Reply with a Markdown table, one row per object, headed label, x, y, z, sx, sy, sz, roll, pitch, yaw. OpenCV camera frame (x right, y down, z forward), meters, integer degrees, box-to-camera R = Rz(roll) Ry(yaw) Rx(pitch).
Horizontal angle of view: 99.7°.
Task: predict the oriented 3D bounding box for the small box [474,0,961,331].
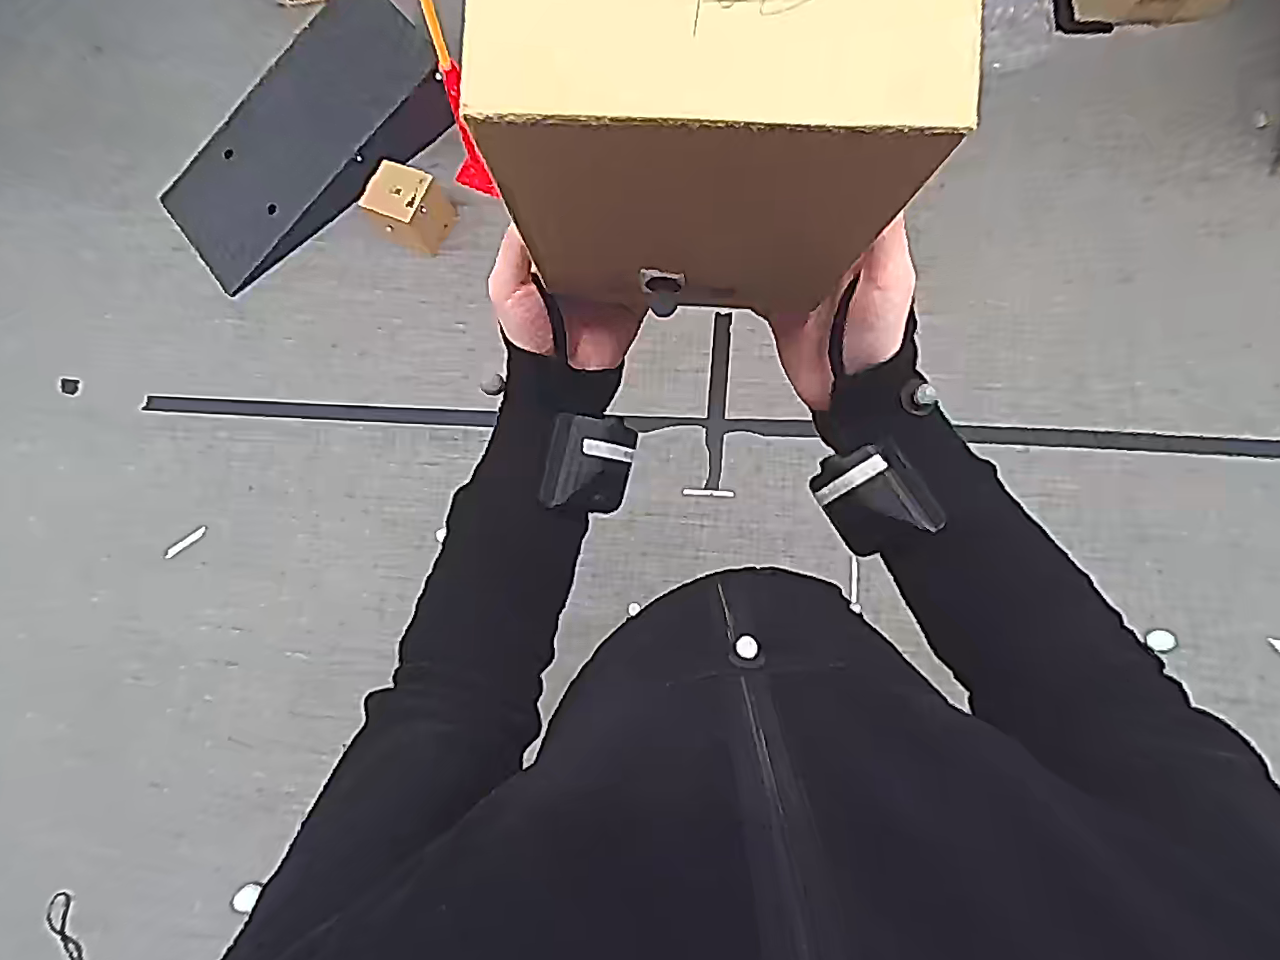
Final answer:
| label | x | y | z | sx | sy | sz | roll | pitch | yaw |
| --- | --- | --- | --- | --- | --- | --- | --- | --- | --- |
| small box | 0.030 | -0.188 | 0.267 | 0.168 | 0.176 | 0.179 | 3 | 89 | 2 |
